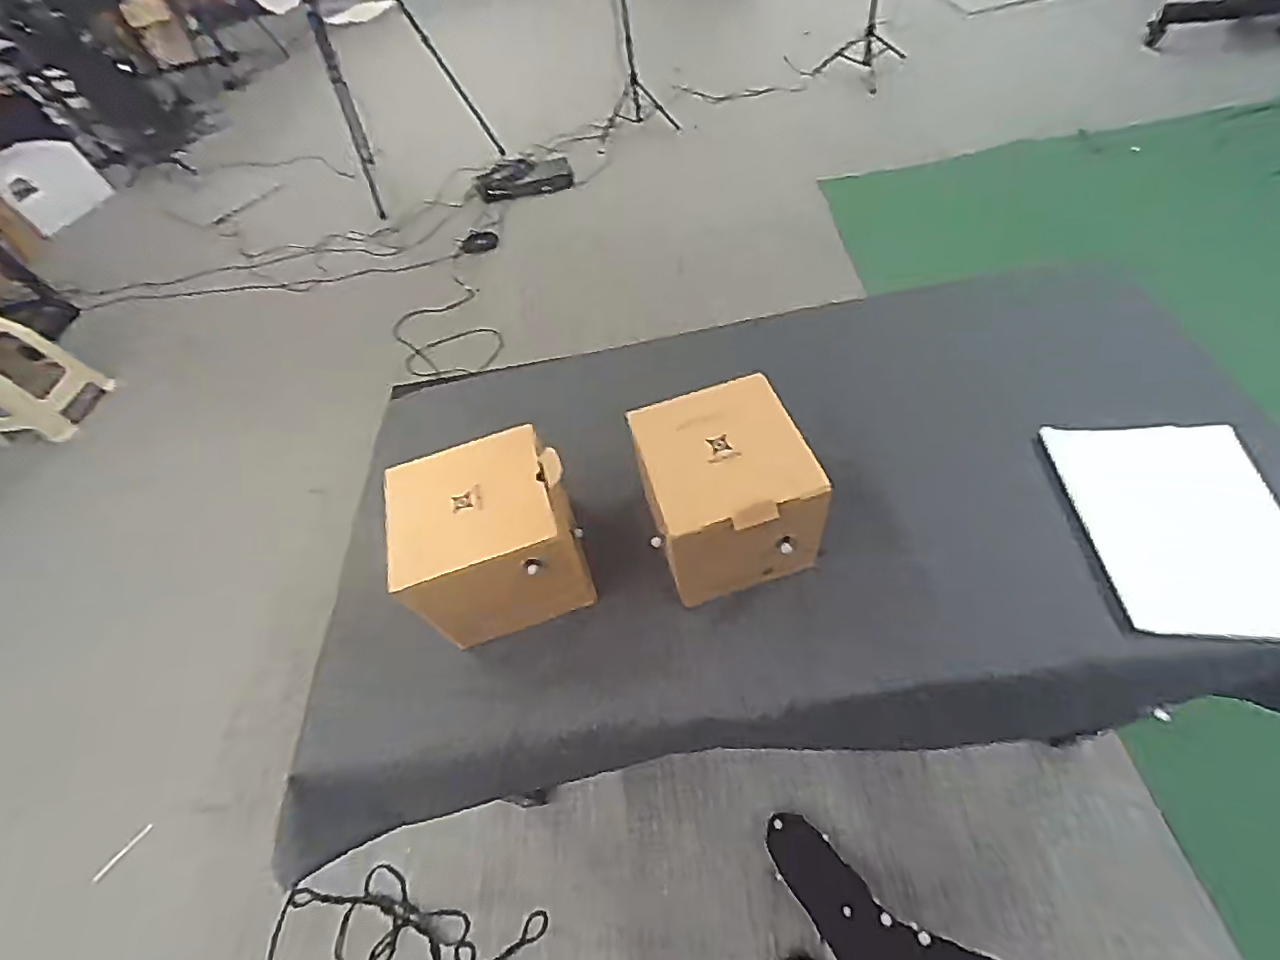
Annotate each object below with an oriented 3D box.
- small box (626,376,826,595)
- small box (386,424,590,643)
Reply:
[{"bbox_3d":[0.093,0.015,0.629,0.168,0.176,0.179,-17,52,-4],"label":"small box"},{"bbox_3d":[-0.173,0.069,0.638,0.179,0.176,0.168,-18,53,-5],"label":"small box"}]
